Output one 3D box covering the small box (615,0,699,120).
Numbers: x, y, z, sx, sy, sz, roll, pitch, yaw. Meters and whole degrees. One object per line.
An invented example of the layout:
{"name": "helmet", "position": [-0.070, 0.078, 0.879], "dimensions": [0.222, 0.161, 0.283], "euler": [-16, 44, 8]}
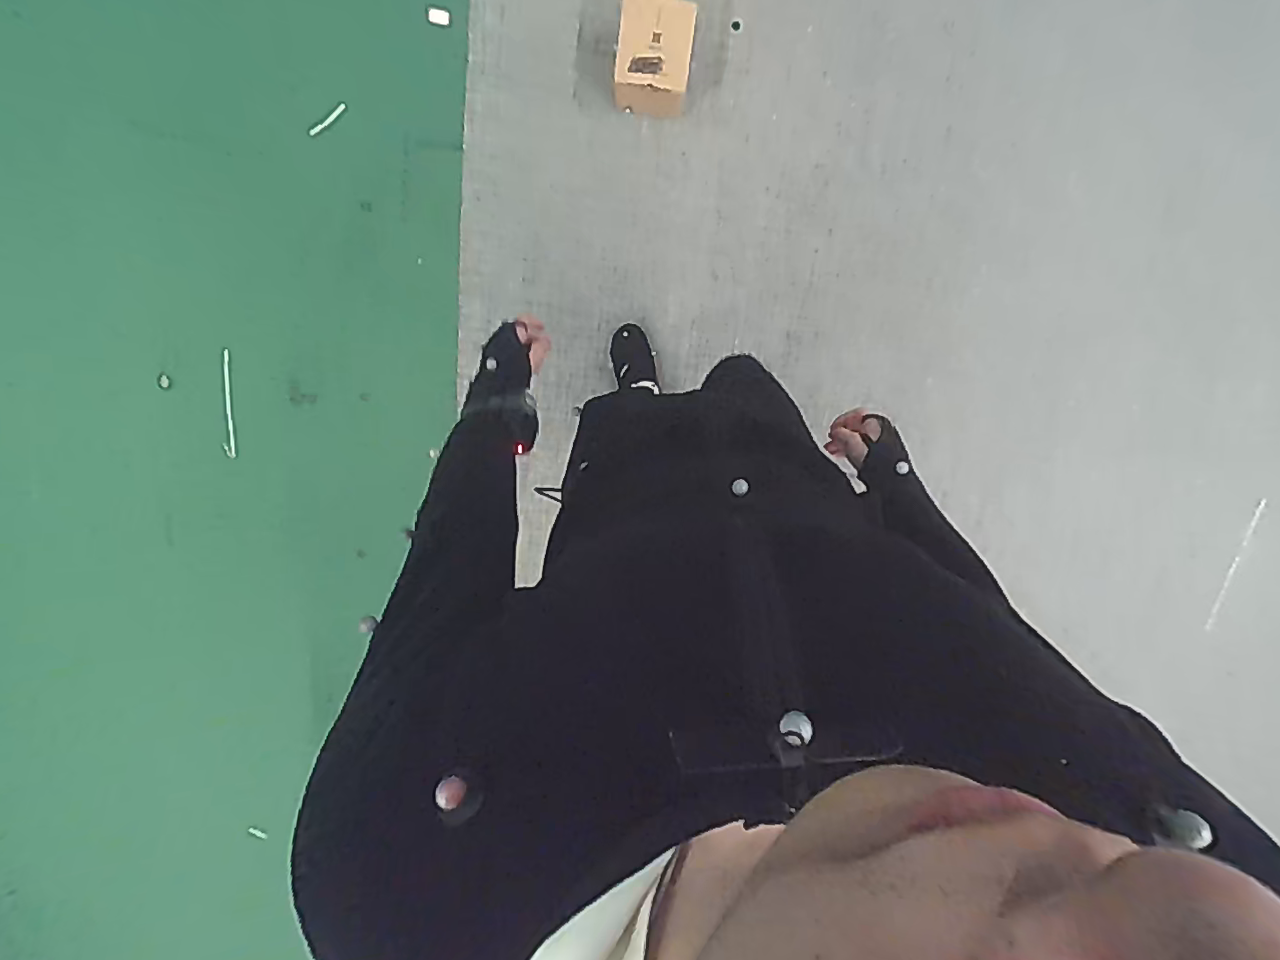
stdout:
{"name": "small box", "position": [0.037, -0.975, 1.263], "dimensions": [0.168, 0.176, 0.179], "euler": [8, 105, -3]}
